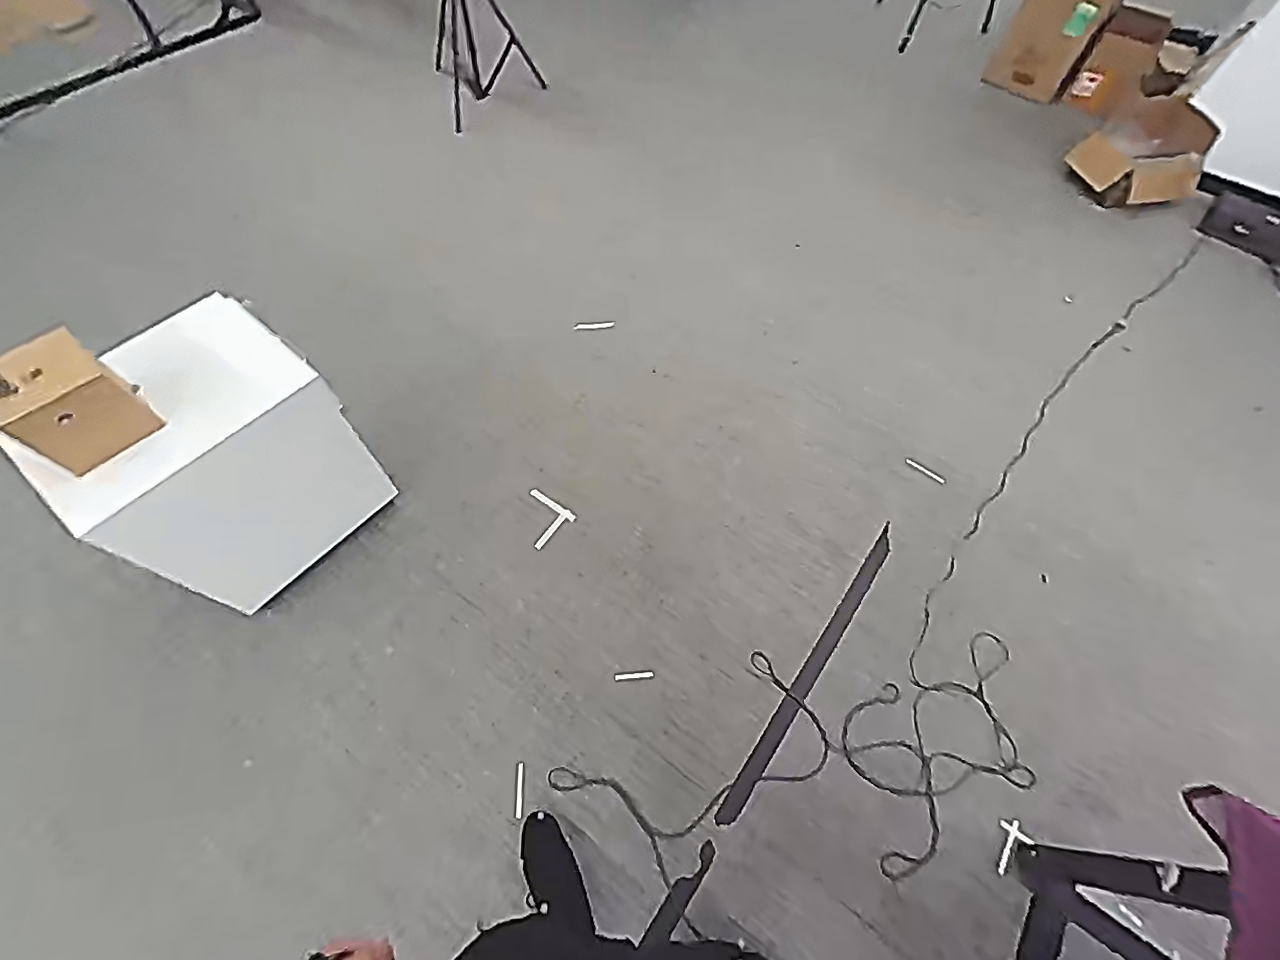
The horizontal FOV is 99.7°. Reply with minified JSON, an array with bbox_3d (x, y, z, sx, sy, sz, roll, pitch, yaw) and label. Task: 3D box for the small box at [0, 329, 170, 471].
[{"bbox_3d":[-1.087,-0.149,1.050,0.168,0.176,0.179,39,65,16],"label":"small box"}]
